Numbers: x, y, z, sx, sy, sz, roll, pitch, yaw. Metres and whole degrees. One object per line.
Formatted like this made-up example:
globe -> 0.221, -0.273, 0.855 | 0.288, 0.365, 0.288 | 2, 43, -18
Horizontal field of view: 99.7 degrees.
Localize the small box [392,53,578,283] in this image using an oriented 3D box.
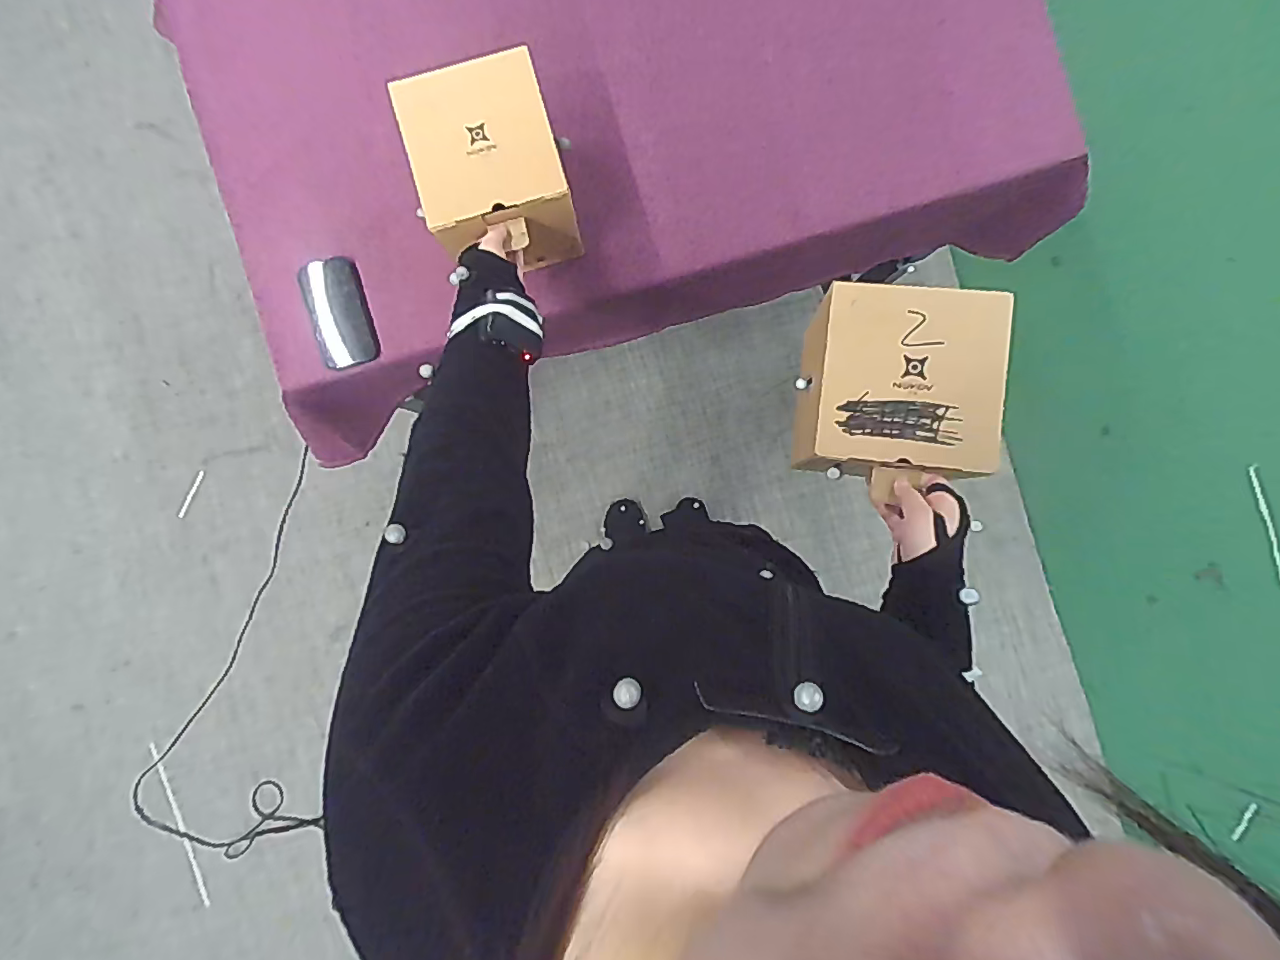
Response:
small box -> -0.185, -0.385, 0.696 | 0.168, 0.176, 0.179 | -16, 90, -1
